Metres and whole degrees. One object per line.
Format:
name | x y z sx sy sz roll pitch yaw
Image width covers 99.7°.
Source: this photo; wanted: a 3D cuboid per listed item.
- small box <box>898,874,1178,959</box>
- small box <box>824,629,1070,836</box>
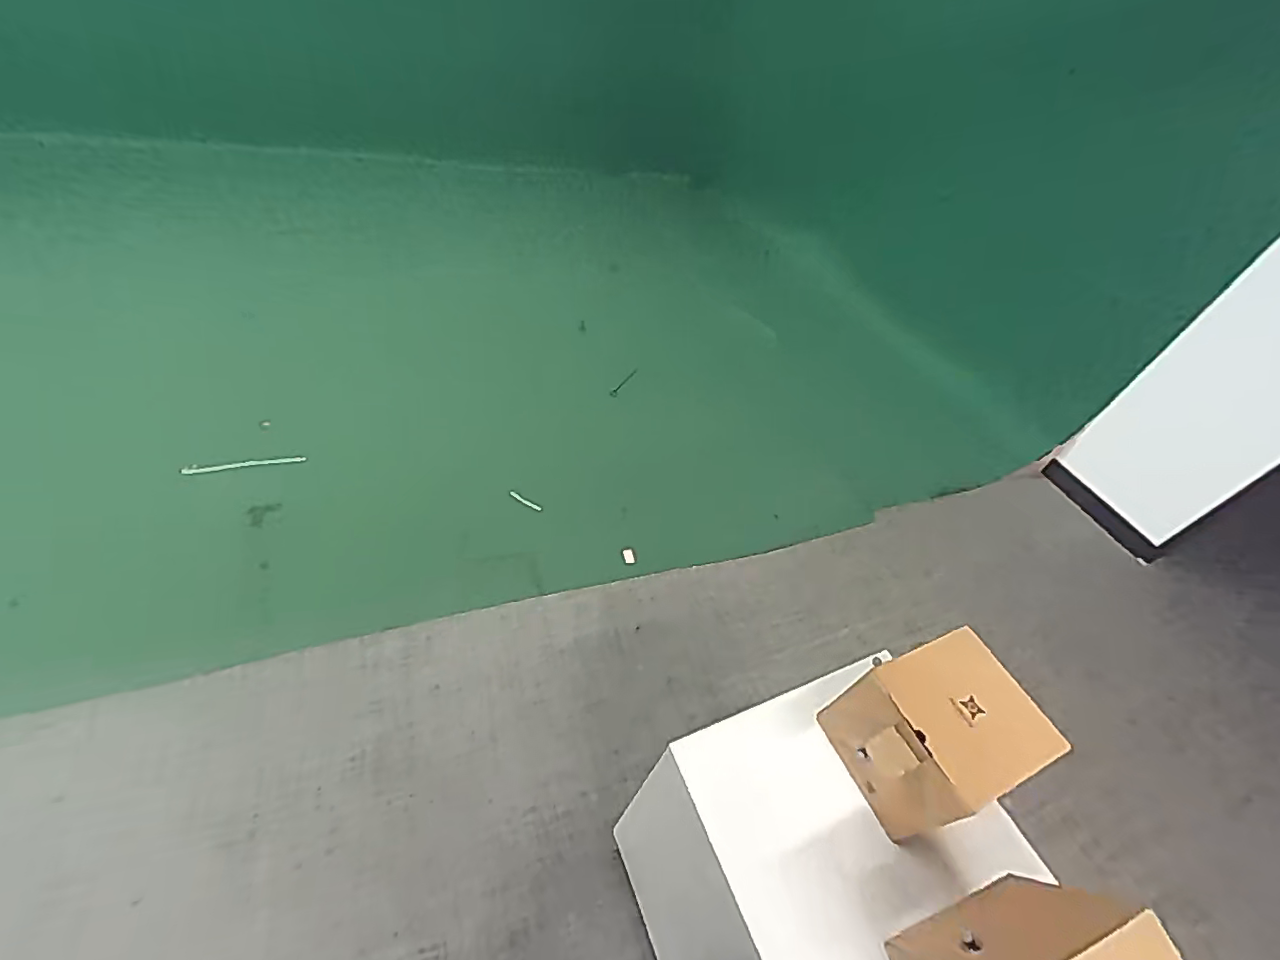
small box | 0.360 0.484 0.472 0.179 0.176 0.168 -14 67 -16
small box | 0.373 0.322 0.691 0.179 0.176 0.168 -14 53 -22
